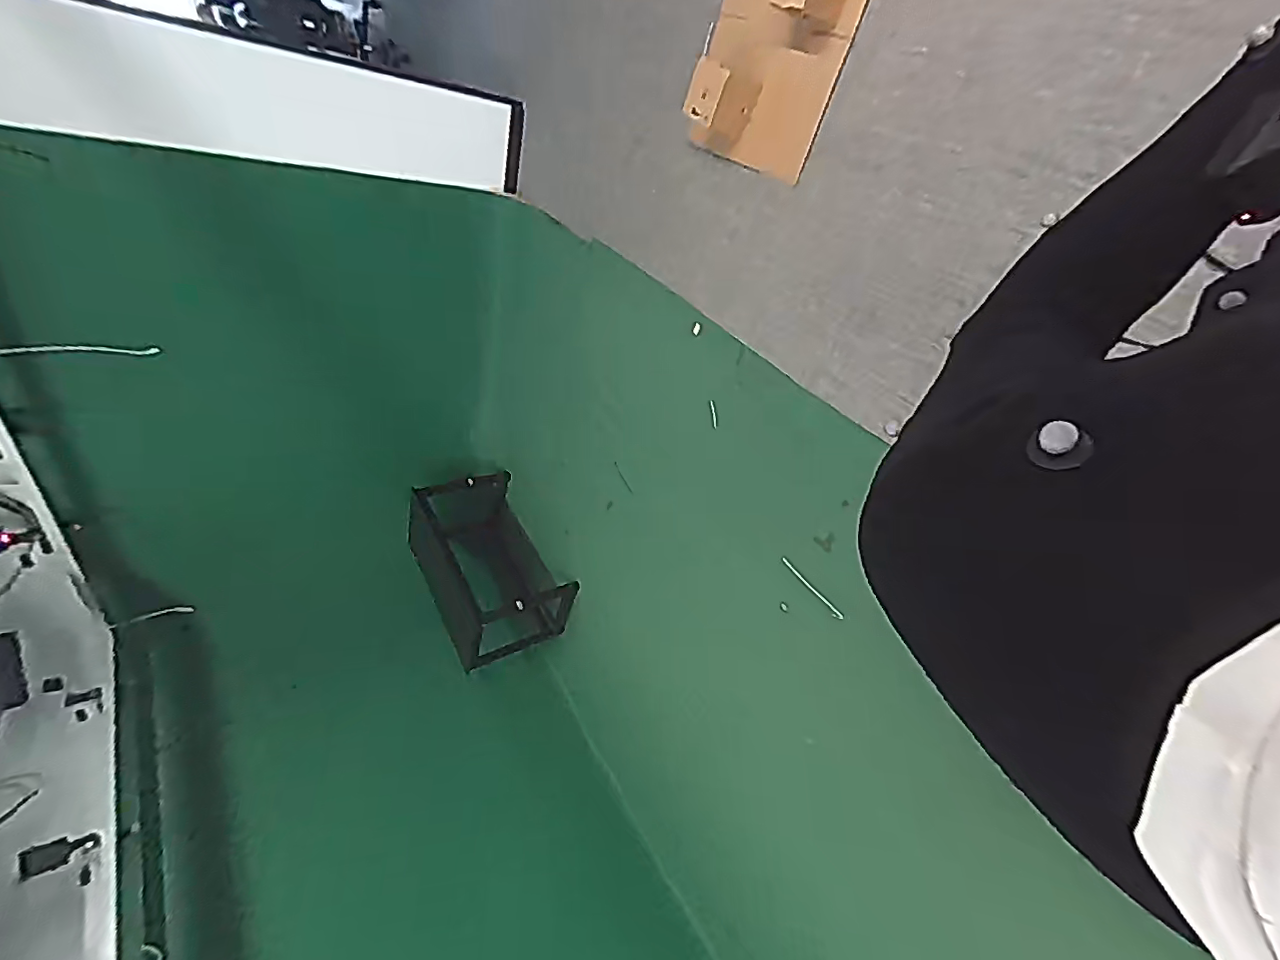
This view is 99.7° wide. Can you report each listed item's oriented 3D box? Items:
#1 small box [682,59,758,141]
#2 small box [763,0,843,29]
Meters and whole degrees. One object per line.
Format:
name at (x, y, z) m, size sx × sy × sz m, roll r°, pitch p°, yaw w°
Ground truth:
small box at (0.286, -1.330, 1.900) m, size 0.168 × 0.176 × 0.179 m, roll 54°, pitch 138°, yaw 28°
small box at (0.500, -1.459, 1.581) m, size 0.168 × 0.176 × 0.179 m, roll 48°, pitch 135°, yaw 33°
